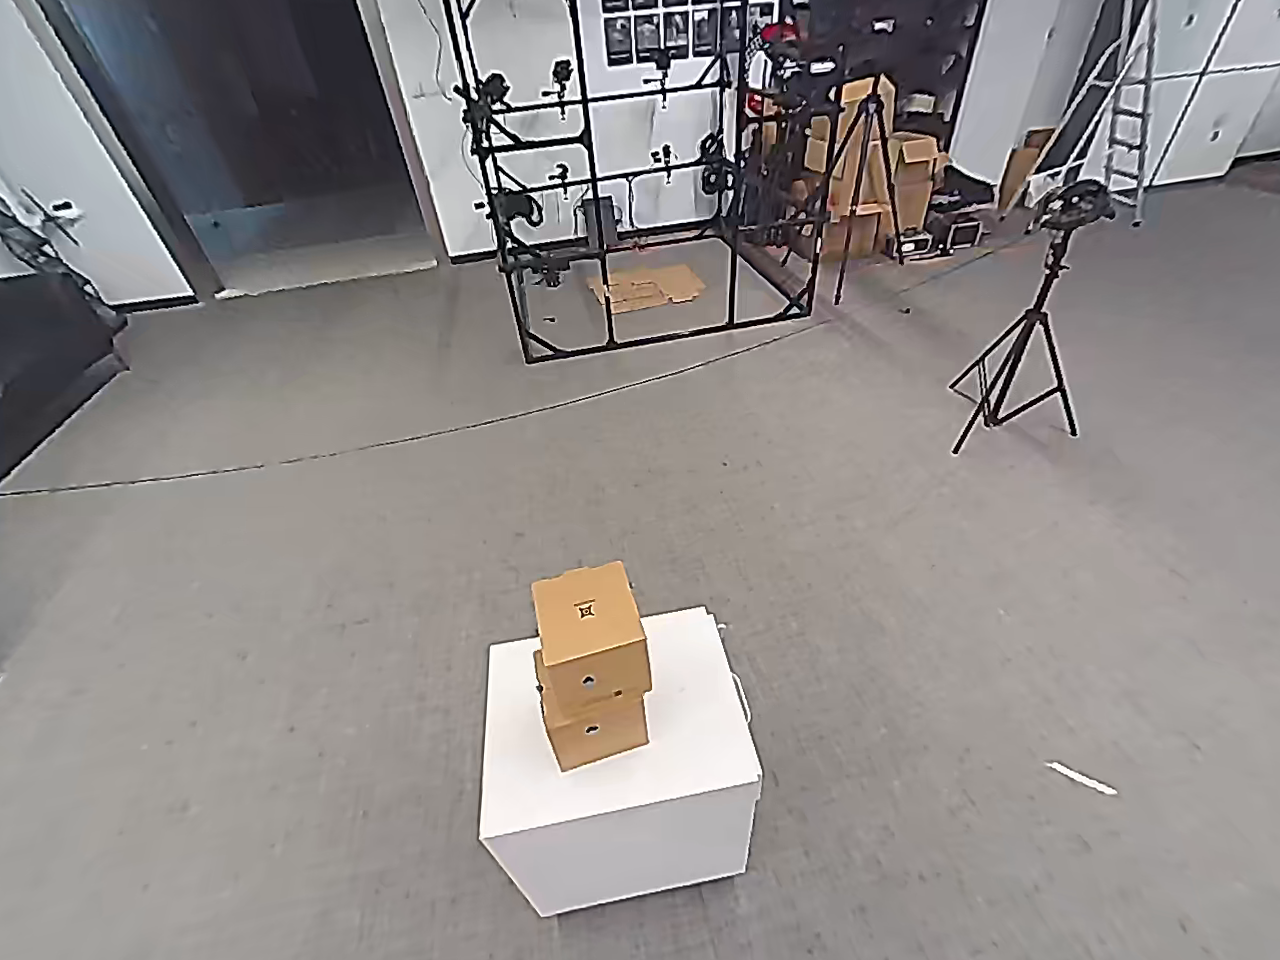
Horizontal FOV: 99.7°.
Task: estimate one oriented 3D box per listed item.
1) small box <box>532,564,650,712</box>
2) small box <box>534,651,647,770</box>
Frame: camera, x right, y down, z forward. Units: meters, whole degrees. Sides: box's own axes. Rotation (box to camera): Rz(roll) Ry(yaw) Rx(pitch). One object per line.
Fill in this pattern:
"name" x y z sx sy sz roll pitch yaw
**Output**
"small box" -0.084 0.283 0.951 0.168 0.176 0.179 -13 39 -9
"small box" -0.094 0.423 1.038 0.179 0.176 0.168 -13 40 -10
